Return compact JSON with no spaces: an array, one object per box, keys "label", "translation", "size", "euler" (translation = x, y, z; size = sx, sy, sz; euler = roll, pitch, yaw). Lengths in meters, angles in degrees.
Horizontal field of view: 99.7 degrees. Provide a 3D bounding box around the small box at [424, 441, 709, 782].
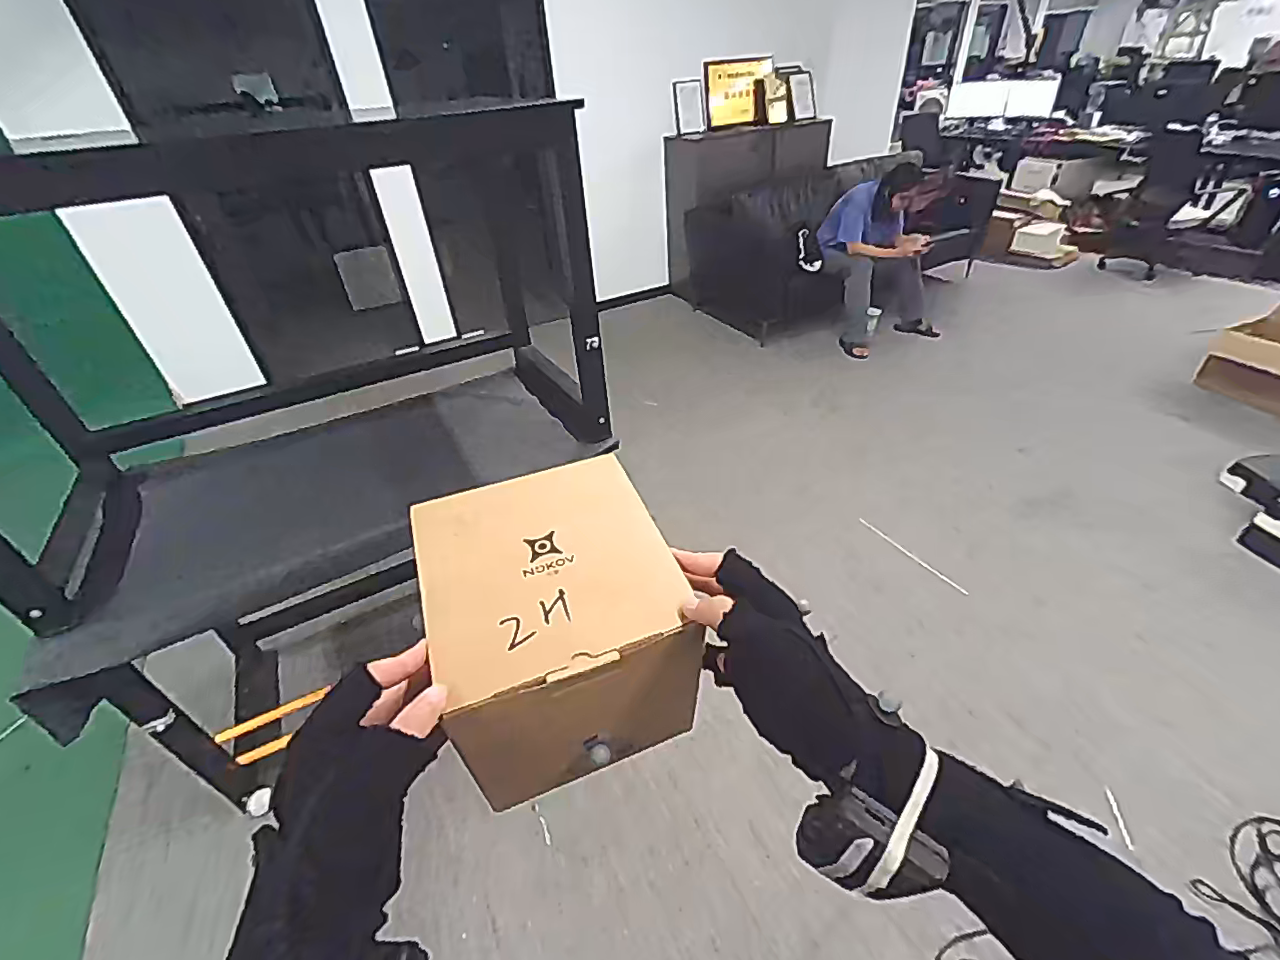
[{"label":"small box","translation":[-0.061,0.099,0.433],"size":[0.168,0.176,0.179],"euler":[-16,44,-15]}]
